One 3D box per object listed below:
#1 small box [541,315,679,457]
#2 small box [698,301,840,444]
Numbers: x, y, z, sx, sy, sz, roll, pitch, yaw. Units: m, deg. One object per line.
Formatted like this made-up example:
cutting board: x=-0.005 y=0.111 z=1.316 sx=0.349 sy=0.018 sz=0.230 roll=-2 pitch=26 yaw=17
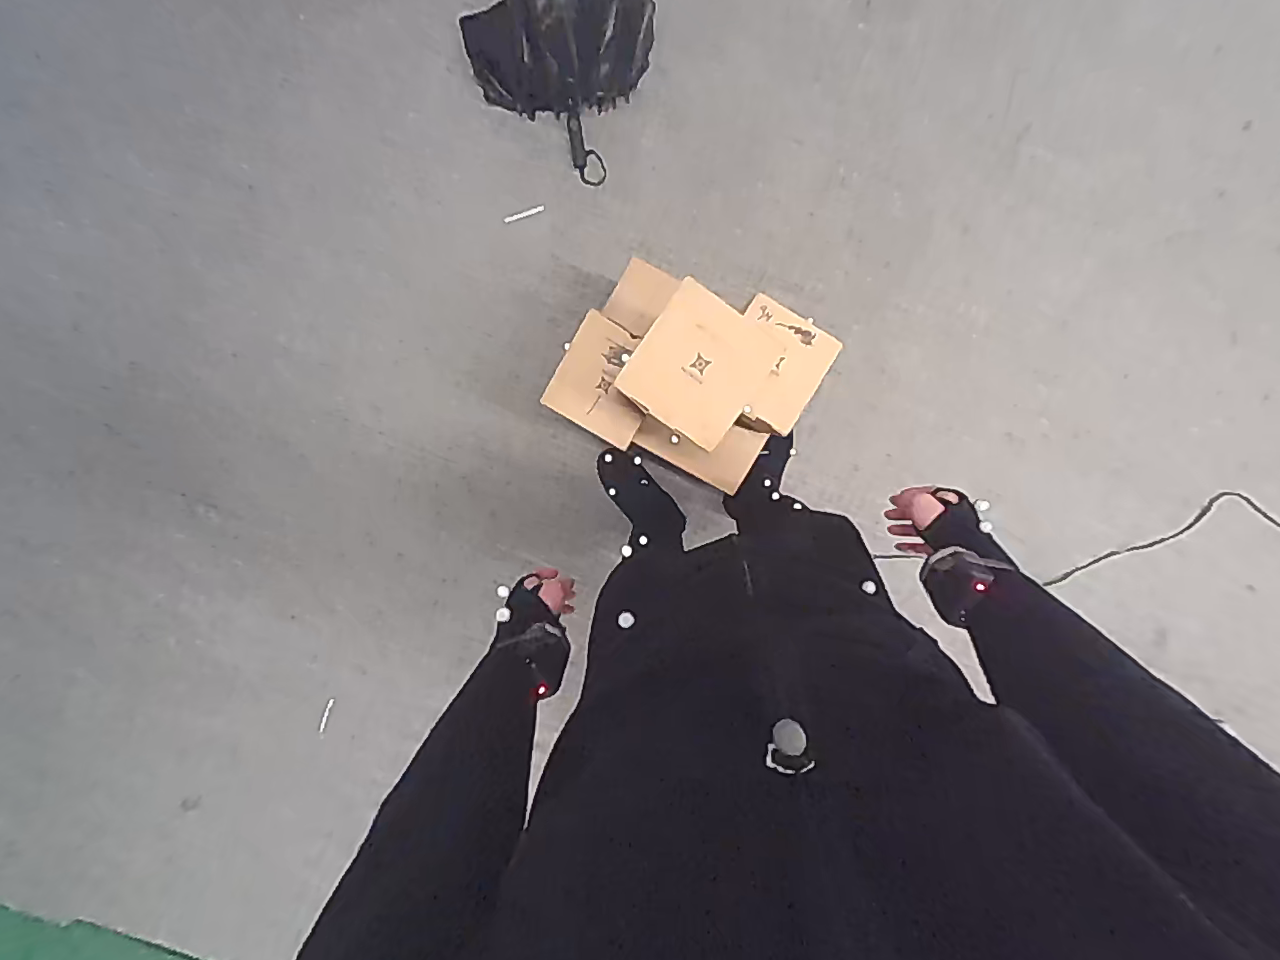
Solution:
small box: x=-0.050 y=-0.162 z=0.953 sx=0.168 sy=0.176 sz=0.179 roll=31 pitch=98 yaw=-3
small box: x=0.213 y=-0.180 z=0.952 sx=0.168 sy=0.176 sz=0.179 roll=30 pitch=95 yaw=-3
